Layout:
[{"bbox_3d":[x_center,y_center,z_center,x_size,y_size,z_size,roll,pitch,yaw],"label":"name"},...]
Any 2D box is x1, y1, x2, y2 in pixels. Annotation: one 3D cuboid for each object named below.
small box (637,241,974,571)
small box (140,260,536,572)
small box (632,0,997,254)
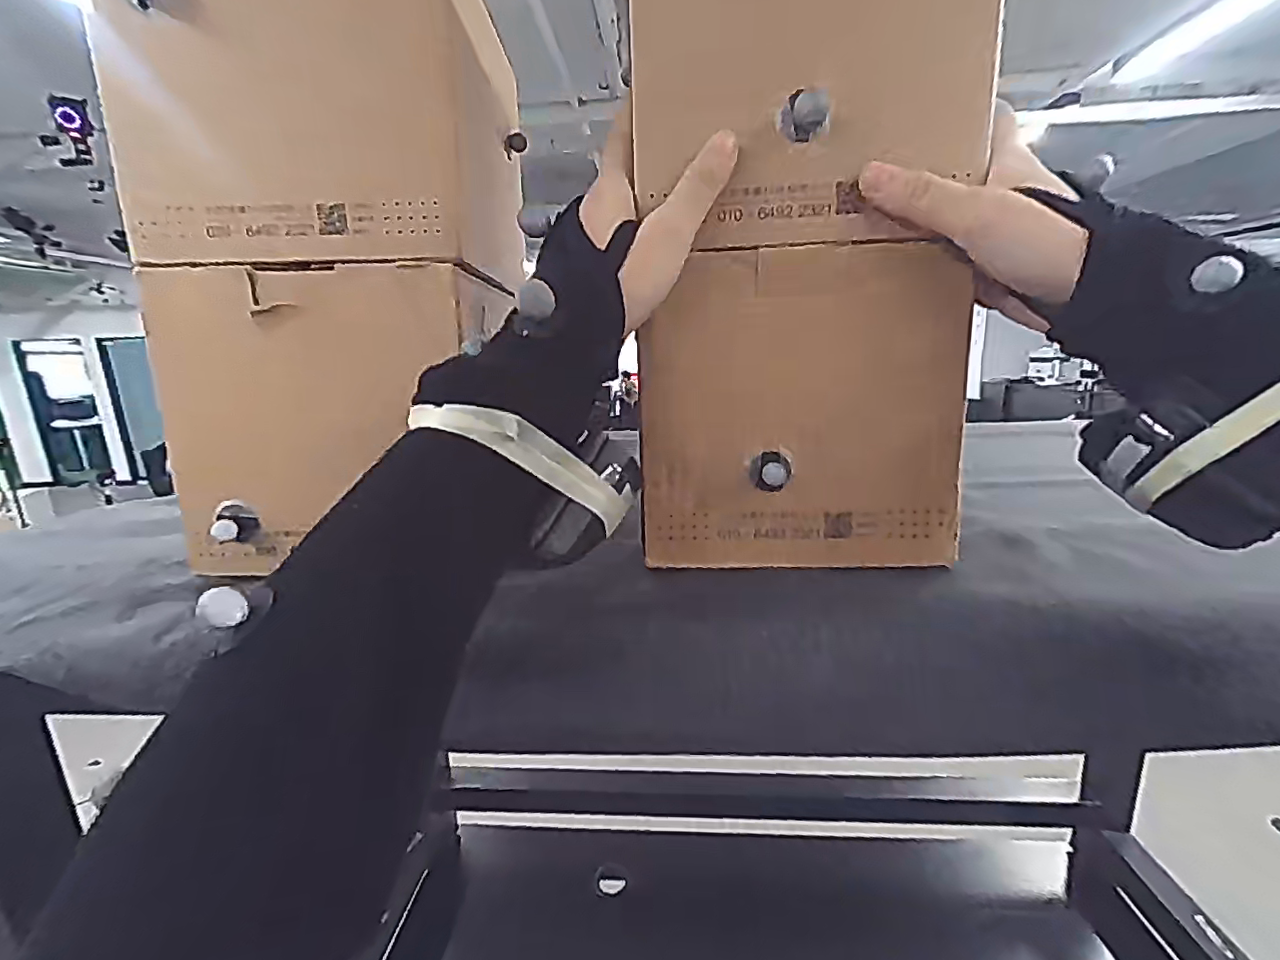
[{"bbox_3d":[0.086,-0.047,0.360,0.168,0.176,0.179,-1,11,4],"label":"small box"},{"bbox_3d":[-0.169,-0.042,0.369,0.168,0.176,0.179,0,11,1],"label":"small box"},{"bbox_3d":[0.084,-0.210,0.328,0.168,0.176,0.179,-1,12,5],"label":"small box"}]
